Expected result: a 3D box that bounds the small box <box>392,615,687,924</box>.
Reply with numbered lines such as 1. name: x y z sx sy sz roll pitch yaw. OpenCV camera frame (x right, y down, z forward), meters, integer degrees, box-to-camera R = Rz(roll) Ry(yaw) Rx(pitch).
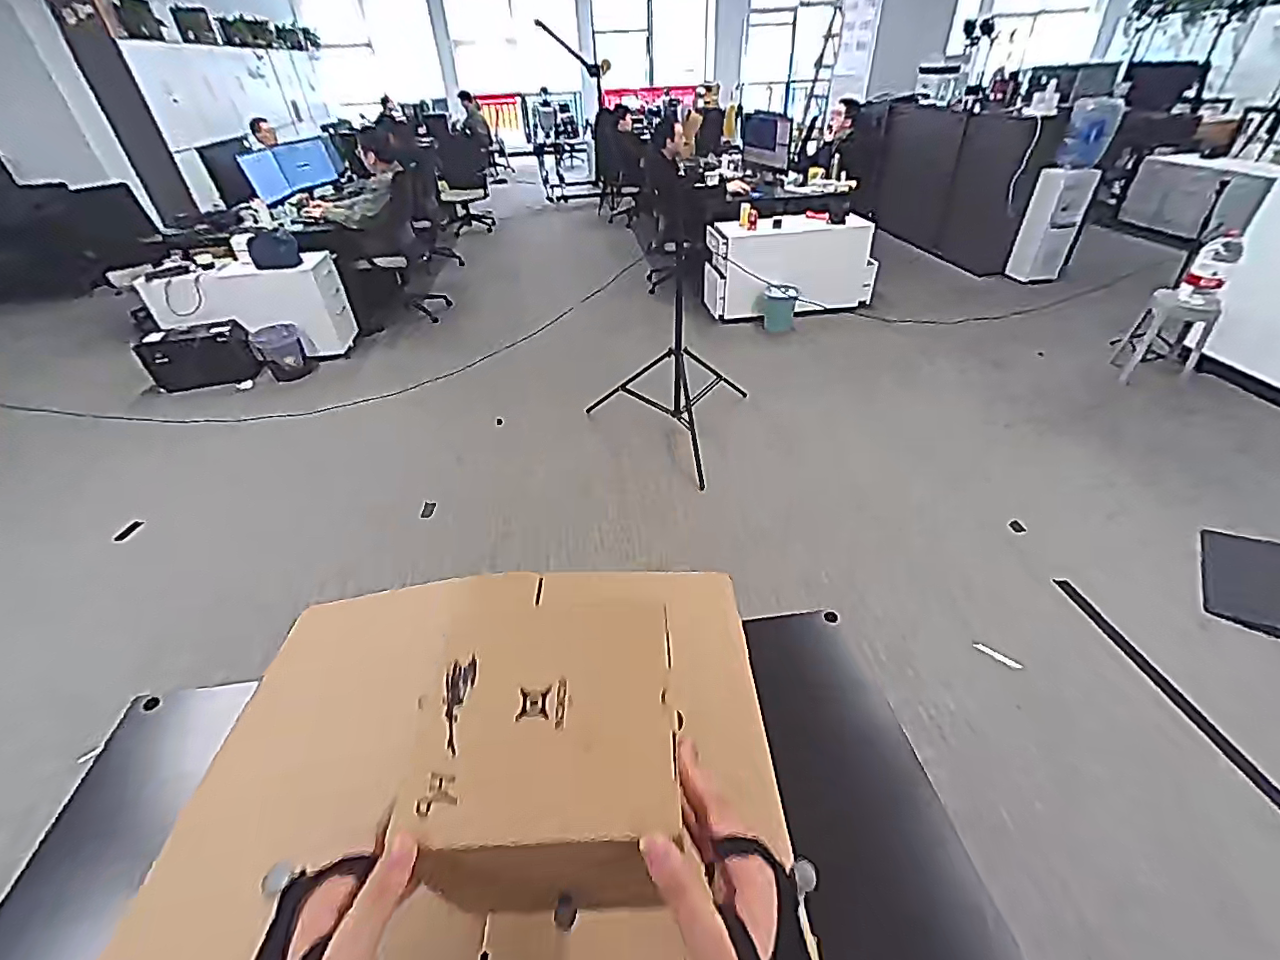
1. small box: -0.058 0.226 0.428 0.179 0.176 0.168 -3 38 1
